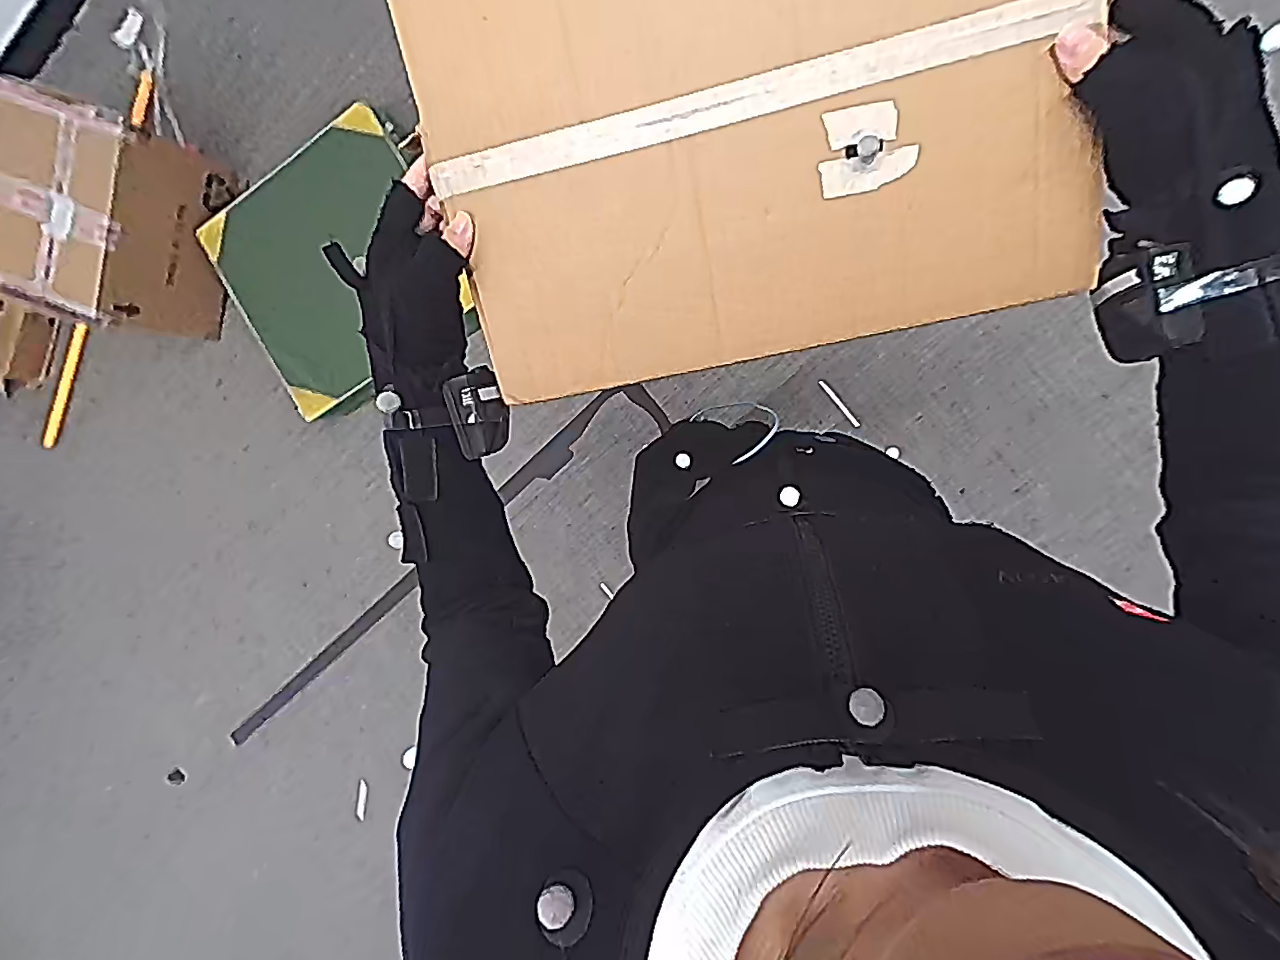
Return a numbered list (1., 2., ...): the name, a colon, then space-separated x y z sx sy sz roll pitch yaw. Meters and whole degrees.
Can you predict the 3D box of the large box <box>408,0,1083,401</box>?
1. large box: 0.078 -0.283 0.489 0.408 0.320 0.320 -10 107 7
